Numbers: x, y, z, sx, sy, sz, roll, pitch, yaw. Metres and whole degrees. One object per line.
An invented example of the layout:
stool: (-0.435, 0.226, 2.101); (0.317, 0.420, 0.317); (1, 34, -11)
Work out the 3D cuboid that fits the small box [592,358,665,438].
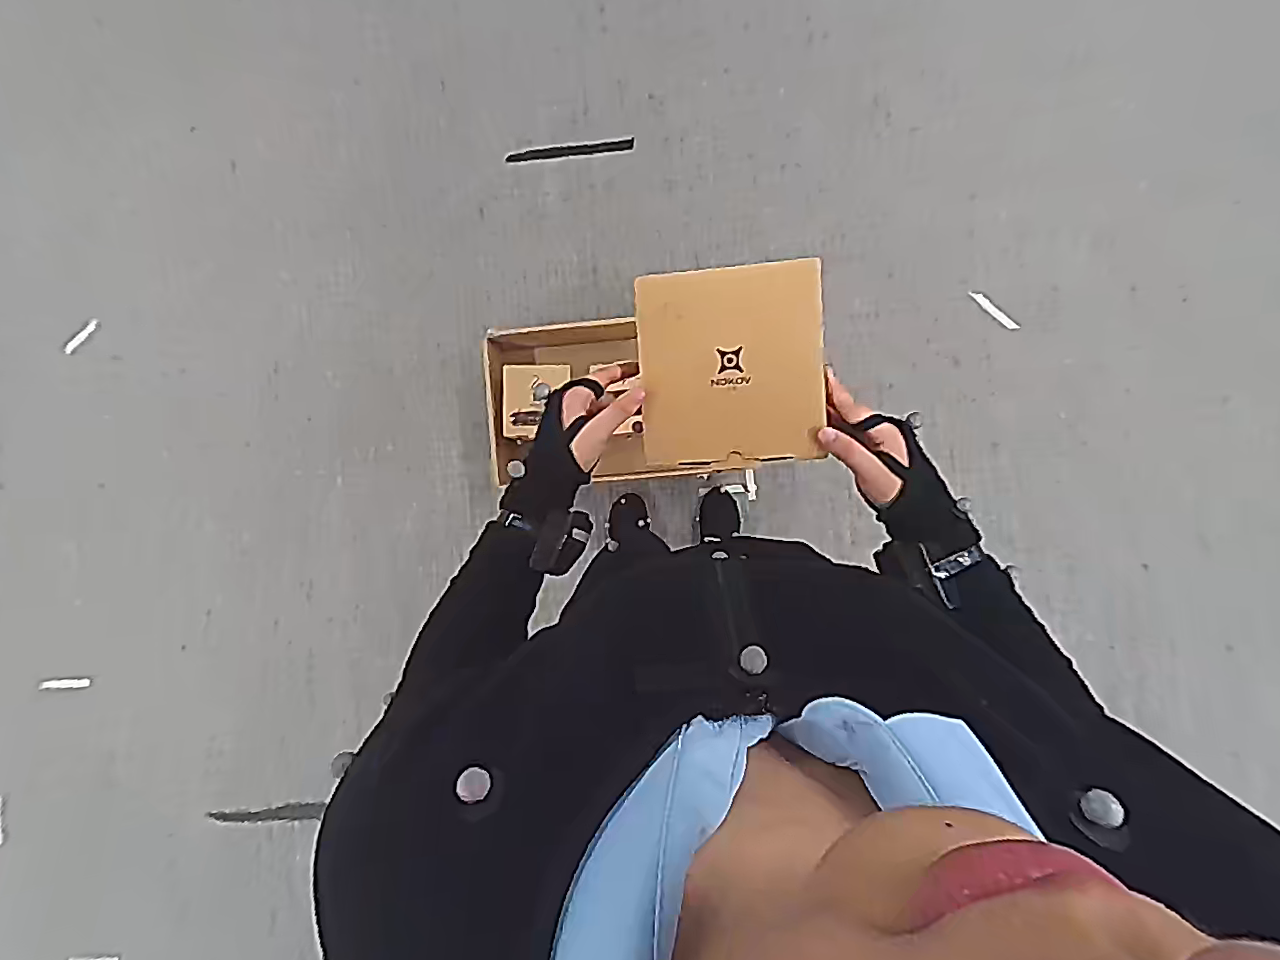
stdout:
small box: (-0.024, -0.201, 1.383); (0.168, 0.176, 0.179); (-5, 90, 3)
